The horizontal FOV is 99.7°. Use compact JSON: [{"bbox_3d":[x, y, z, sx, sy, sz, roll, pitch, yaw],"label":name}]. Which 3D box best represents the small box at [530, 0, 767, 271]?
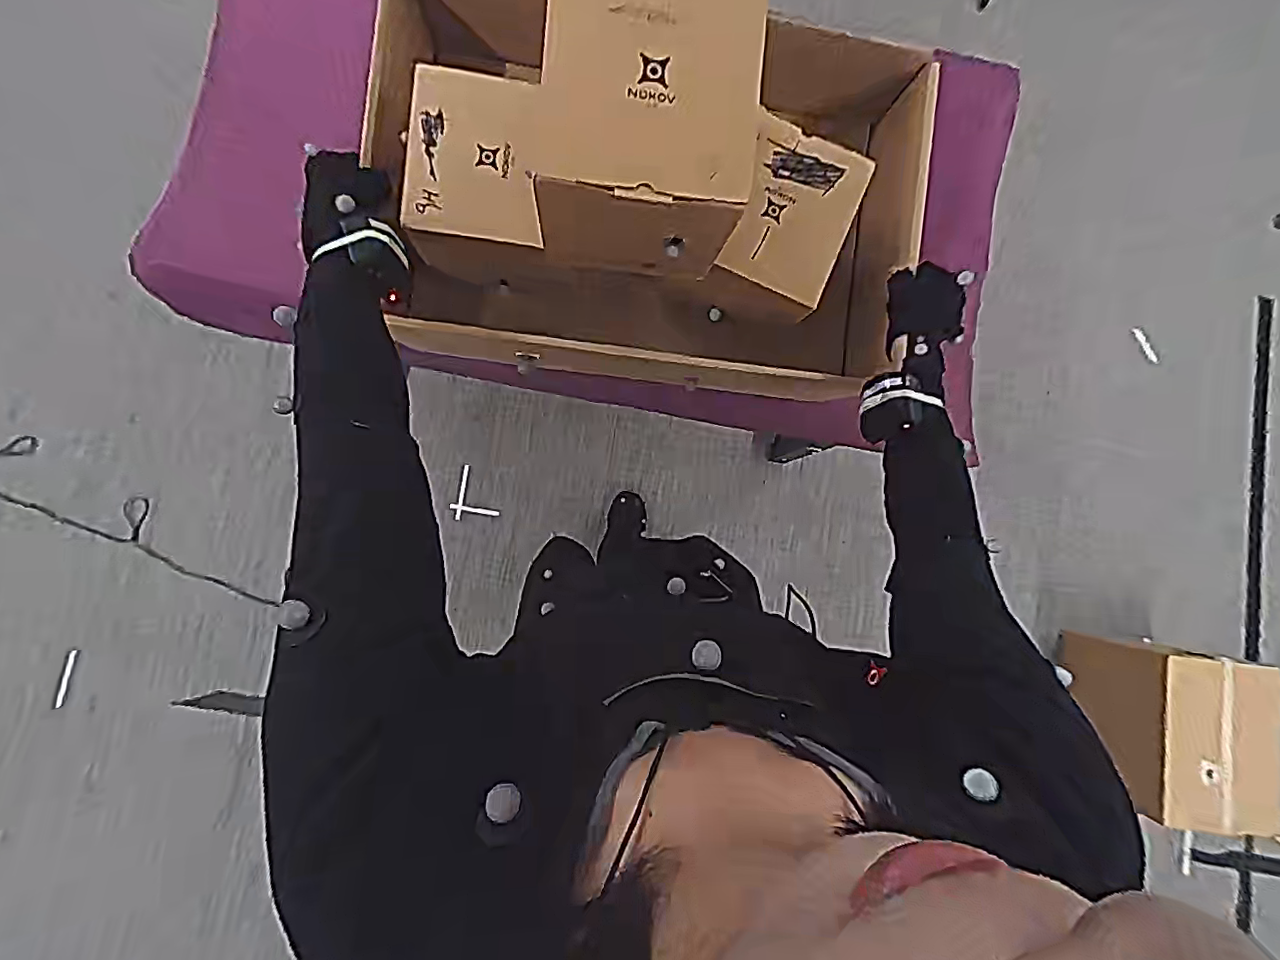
[{"bbox_3d":[0.000,-0.303,0.475,0.168,0.176,0.179,4,90,-7],"label":"small box"}]

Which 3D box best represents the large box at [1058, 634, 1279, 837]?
[{"bbox_3d":[1.390,0.654,1.448,0.320,0.320,0.408,7,85,-4],"label":"large box"}]
